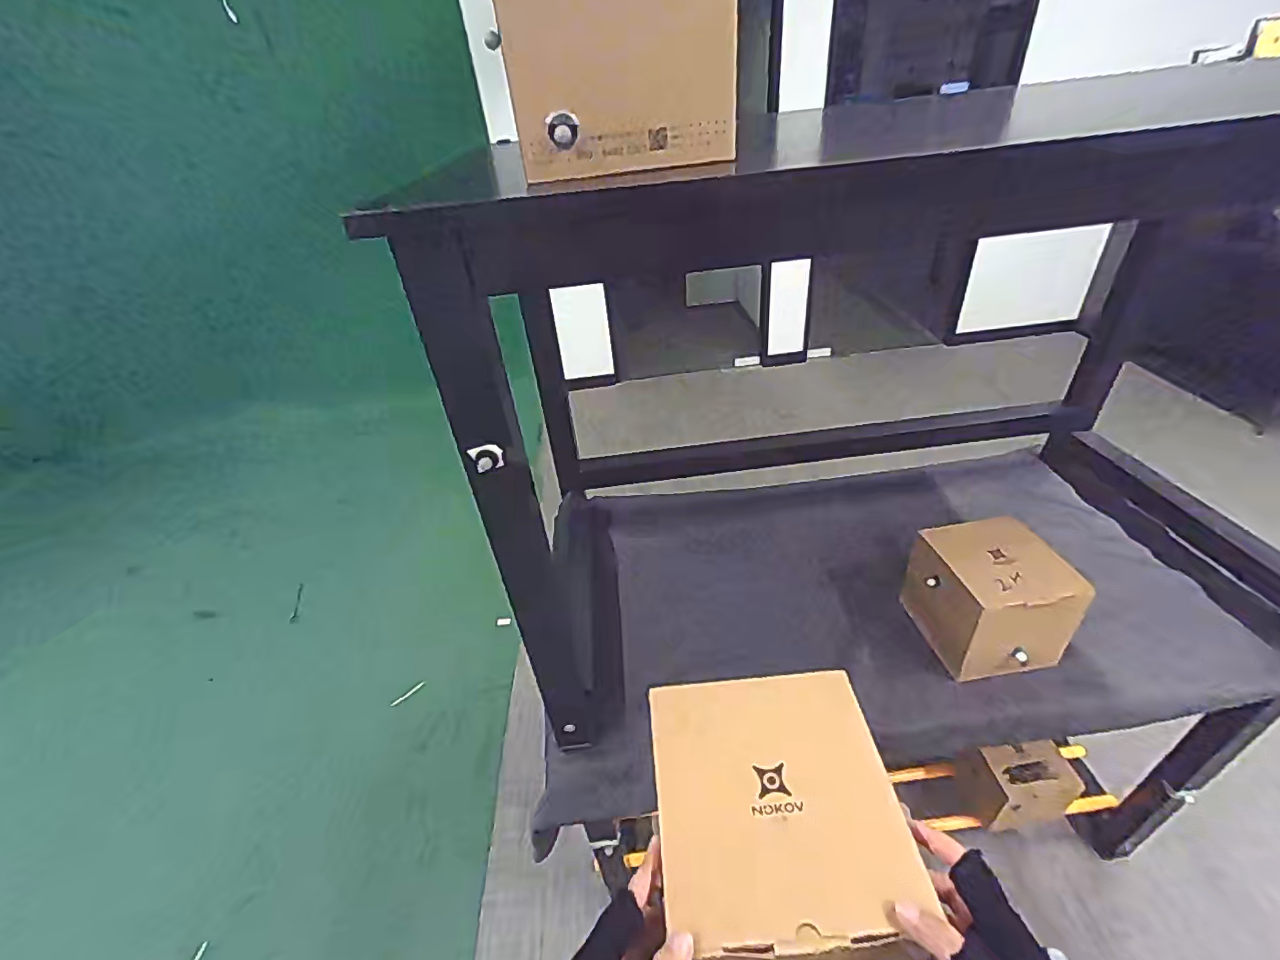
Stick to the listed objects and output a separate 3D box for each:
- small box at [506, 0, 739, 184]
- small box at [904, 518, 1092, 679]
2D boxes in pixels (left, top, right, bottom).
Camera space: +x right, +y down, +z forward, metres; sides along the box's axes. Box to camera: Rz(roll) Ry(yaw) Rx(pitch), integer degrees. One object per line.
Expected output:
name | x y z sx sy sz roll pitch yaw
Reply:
small box | -0.018 -0.352 0.449 0.168 0.176 0.179 -9 34 -5
small box | 0.553 0.188 0.869 0.168 0.176 0.179 -9 34 -2
